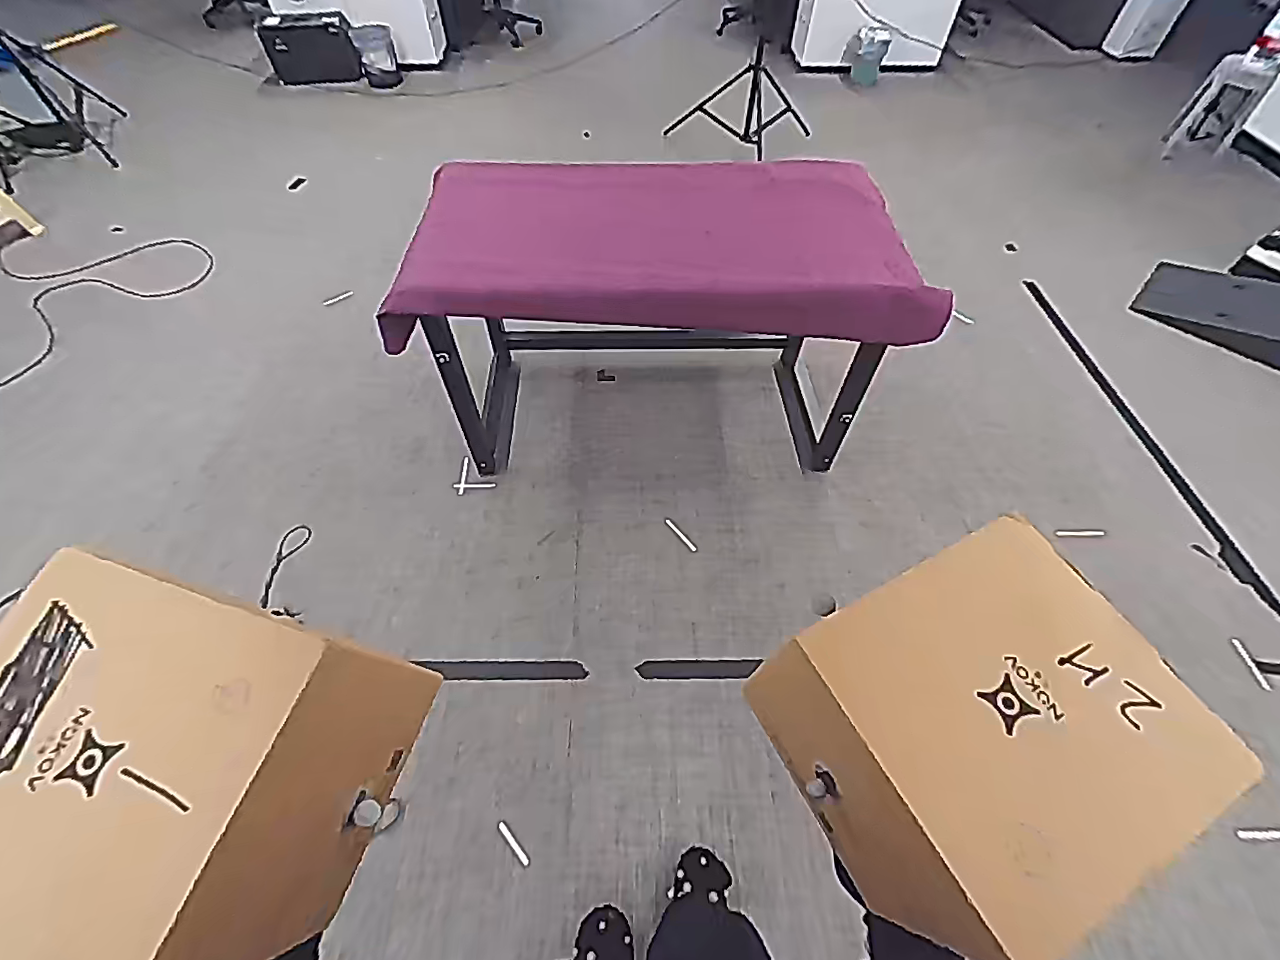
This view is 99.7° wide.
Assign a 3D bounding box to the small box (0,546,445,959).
[{"bbox_3d":[-0.255,0.163,0.330,0.179,0.176,0.168,16,66,8],"label":"small box"}]

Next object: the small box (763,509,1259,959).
[{"bbox_3d":[0.199,0.153,0.355,0.179,0.176,0.168,-24,64,-15],"label":"small box"}]
